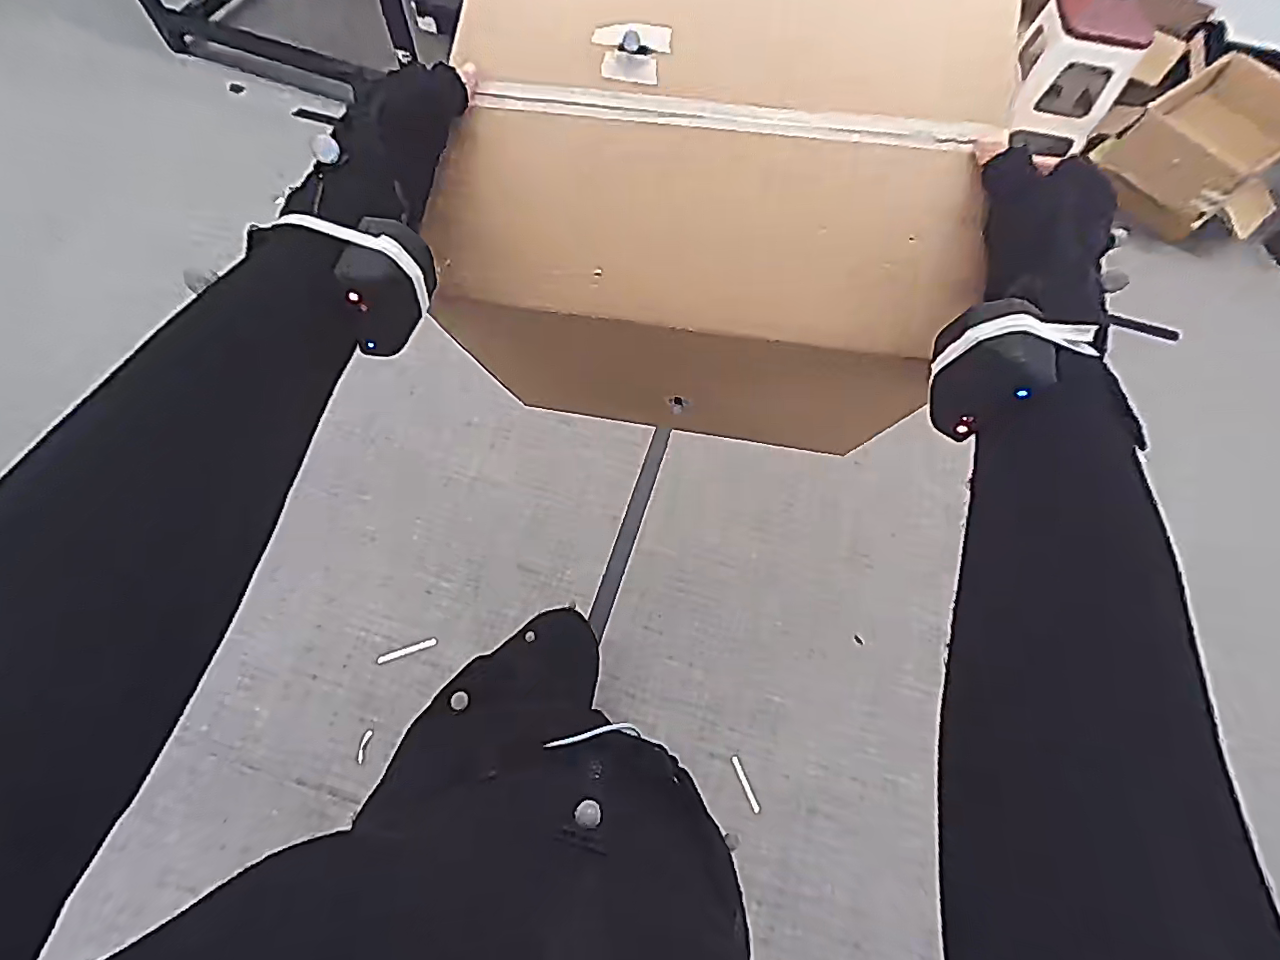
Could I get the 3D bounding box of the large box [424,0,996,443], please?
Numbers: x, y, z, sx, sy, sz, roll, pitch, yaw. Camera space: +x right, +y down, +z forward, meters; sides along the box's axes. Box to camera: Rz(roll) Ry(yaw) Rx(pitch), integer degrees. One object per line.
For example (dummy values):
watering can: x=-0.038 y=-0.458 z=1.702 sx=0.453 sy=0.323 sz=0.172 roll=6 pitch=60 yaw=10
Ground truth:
large box: x=0.067 y=-0.238 z=0.558 sx=0.408 sy=0.320 sz=0.320 roll=10 pitch=82 yaw=7
